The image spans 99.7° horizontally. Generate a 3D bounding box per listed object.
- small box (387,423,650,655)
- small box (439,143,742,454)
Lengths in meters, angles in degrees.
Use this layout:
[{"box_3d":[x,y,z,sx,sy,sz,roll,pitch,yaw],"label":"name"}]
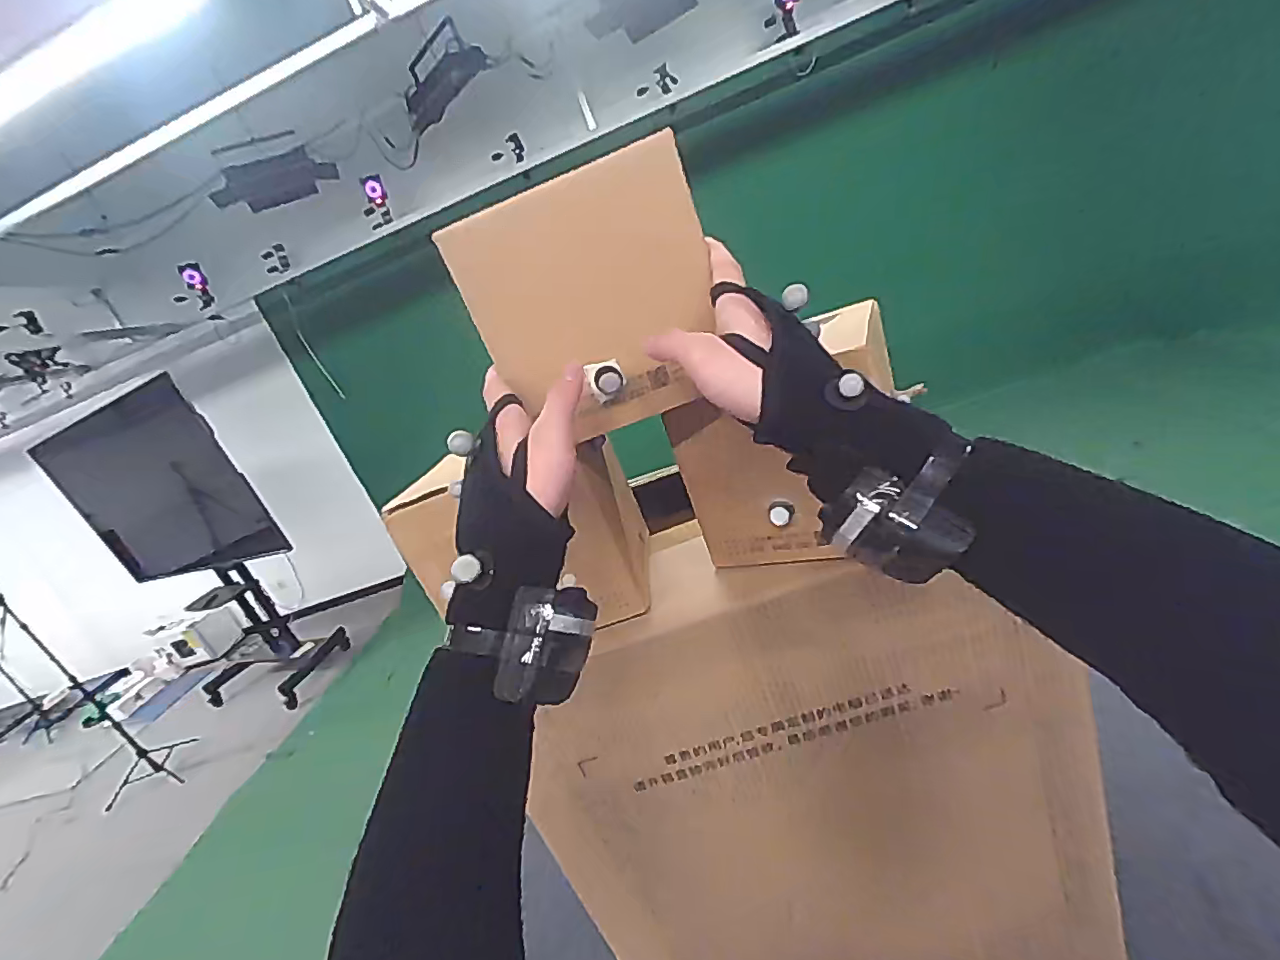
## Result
[{"box_3d":[-0.102,0.044,0.539,0.179,0.176,0.168,-20,20,8],"label":"small box"},{"box_3d":[-0.031,-0.139,0.450,0.168,0.176,0.179,-22,20,5],"label":"small box"}]
